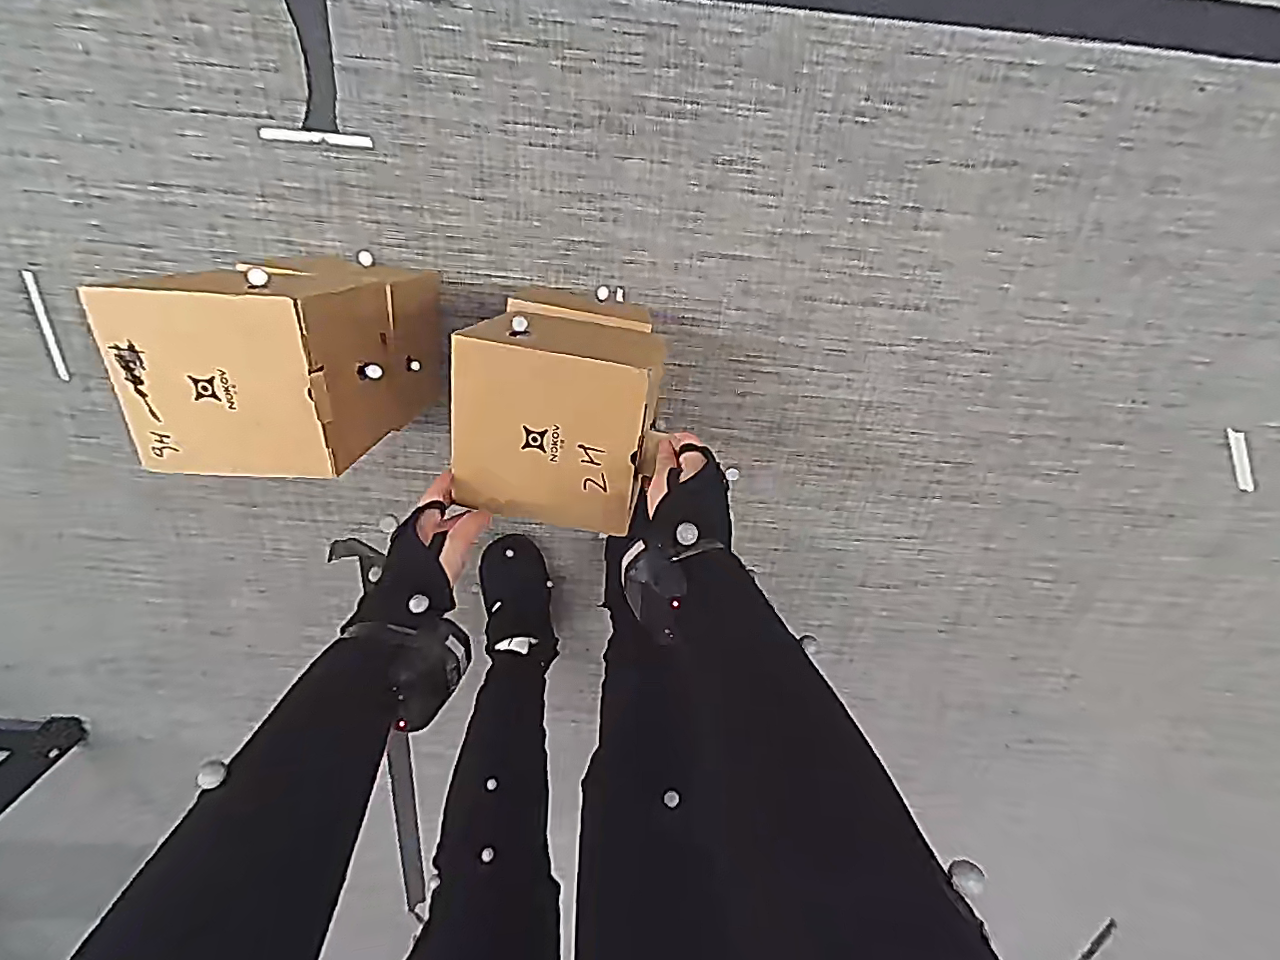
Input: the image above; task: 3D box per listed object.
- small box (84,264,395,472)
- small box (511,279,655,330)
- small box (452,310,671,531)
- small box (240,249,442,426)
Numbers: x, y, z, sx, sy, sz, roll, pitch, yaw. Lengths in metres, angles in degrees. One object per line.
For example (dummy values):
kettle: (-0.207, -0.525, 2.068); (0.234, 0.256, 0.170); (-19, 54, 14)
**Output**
small box: (-0.361, -0.119, 0.537); (0.179, 0.176, 0.168); (3, 115, -3)
small box: (-0.079, -0.152, 0.710); (0.168, 0.176, 0.179); (10, 114, -6)
small box: (-0.072, -0.072, 0.551); (0.179, 0.176, 0.168); (11, 115, 3)
small box: (-0.358, -0.187, 0.687); (0.168, 0.176, 0.179); (7, 115, -4)
